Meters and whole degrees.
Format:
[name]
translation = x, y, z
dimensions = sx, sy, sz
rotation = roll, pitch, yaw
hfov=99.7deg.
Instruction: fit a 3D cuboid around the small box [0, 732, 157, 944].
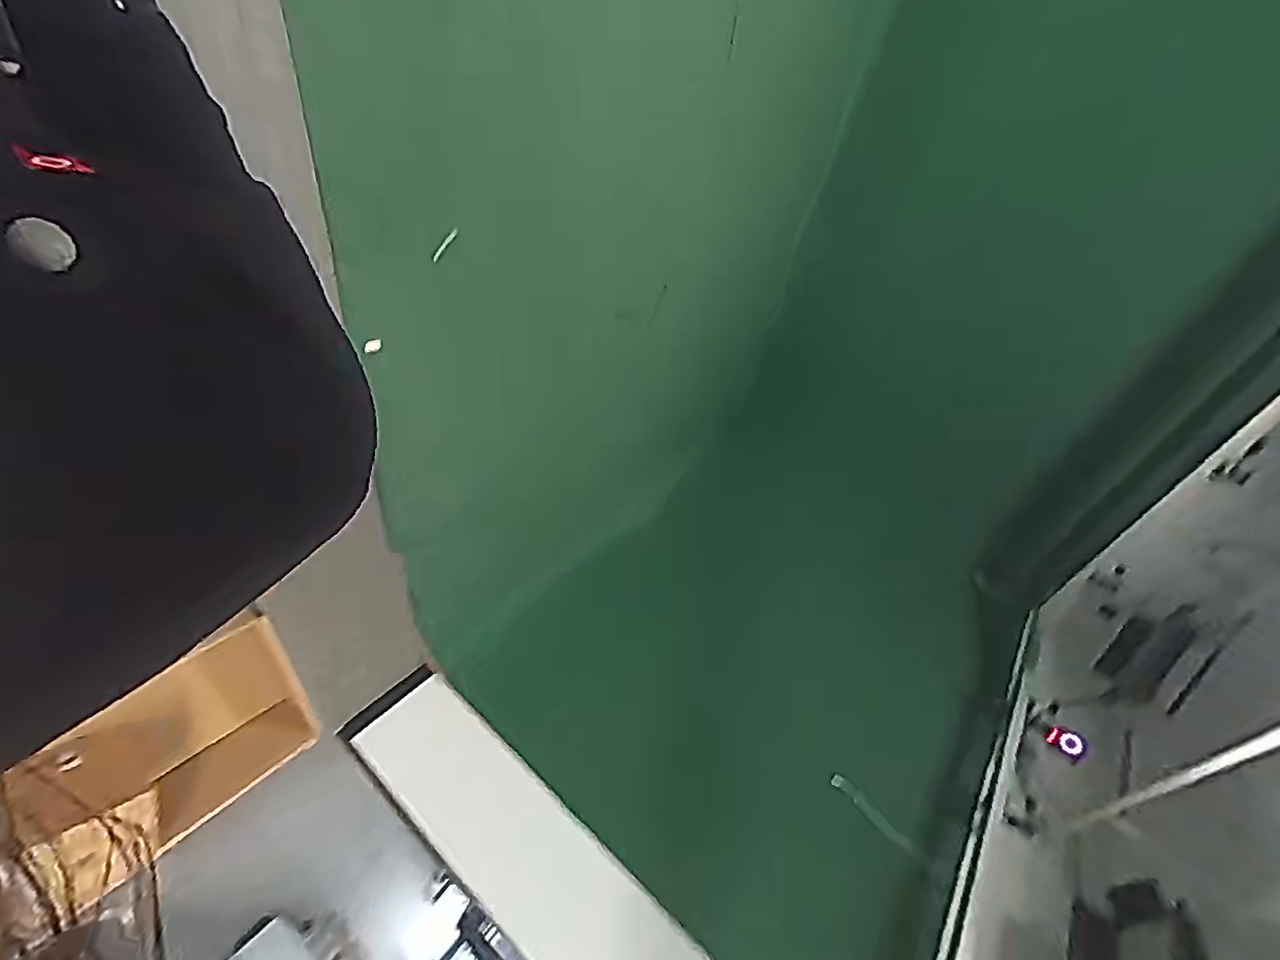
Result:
[small box]
translation = -0.886, 0.538, 0.839
dimensions = 0.168, 0.176, 0.179
rotation = -16, 128, -57
